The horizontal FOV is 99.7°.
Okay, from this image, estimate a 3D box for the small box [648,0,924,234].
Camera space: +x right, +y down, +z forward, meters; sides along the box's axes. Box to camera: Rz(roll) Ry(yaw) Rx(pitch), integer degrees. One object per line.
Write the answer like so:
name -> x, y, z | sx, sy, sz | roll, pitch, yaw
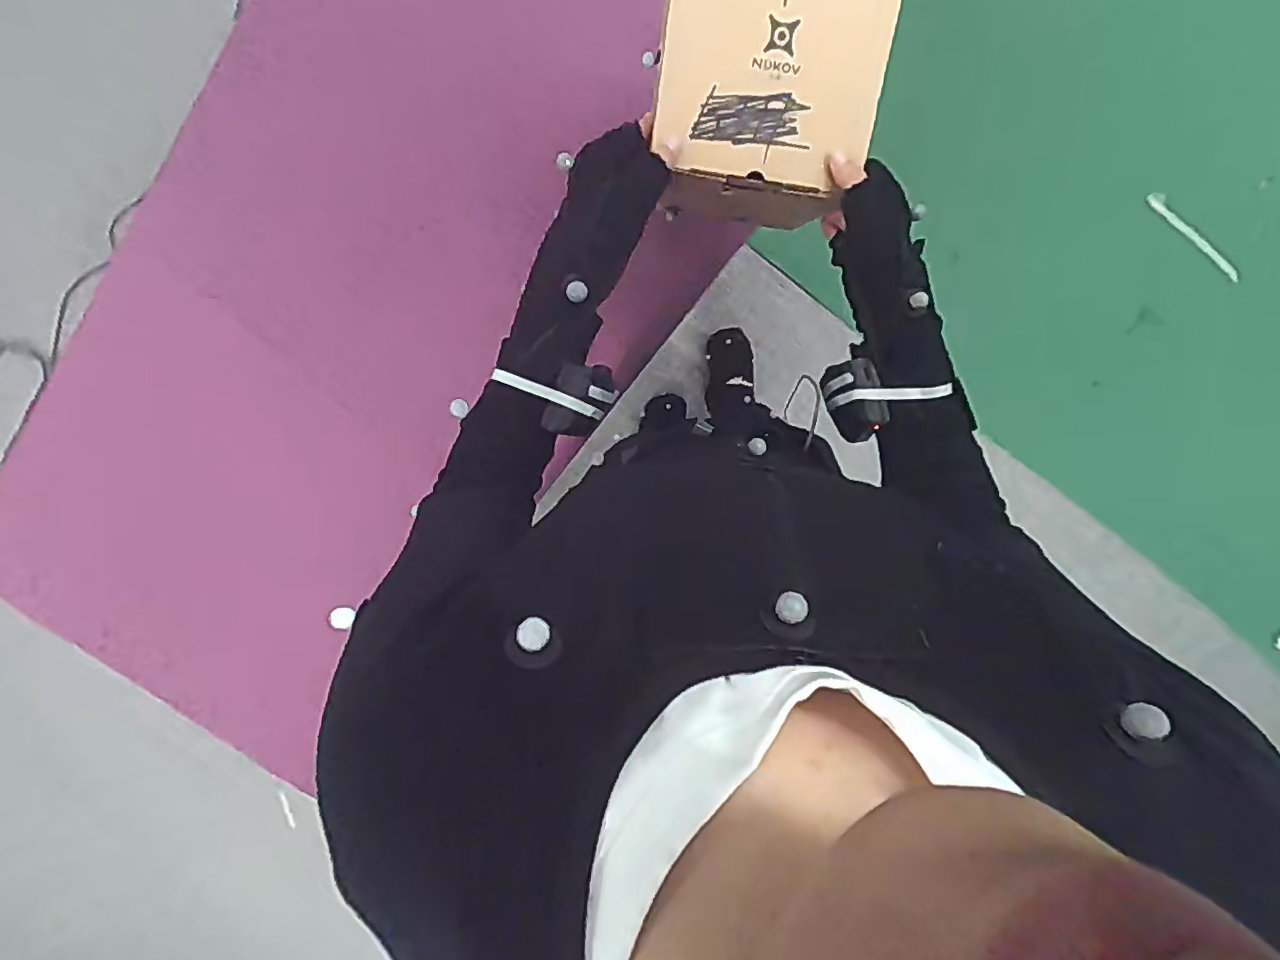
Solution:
small box -> 0.104, -0.325, 0.464 | 0.168, 0.176, 0.179 | 10, 107, -7
